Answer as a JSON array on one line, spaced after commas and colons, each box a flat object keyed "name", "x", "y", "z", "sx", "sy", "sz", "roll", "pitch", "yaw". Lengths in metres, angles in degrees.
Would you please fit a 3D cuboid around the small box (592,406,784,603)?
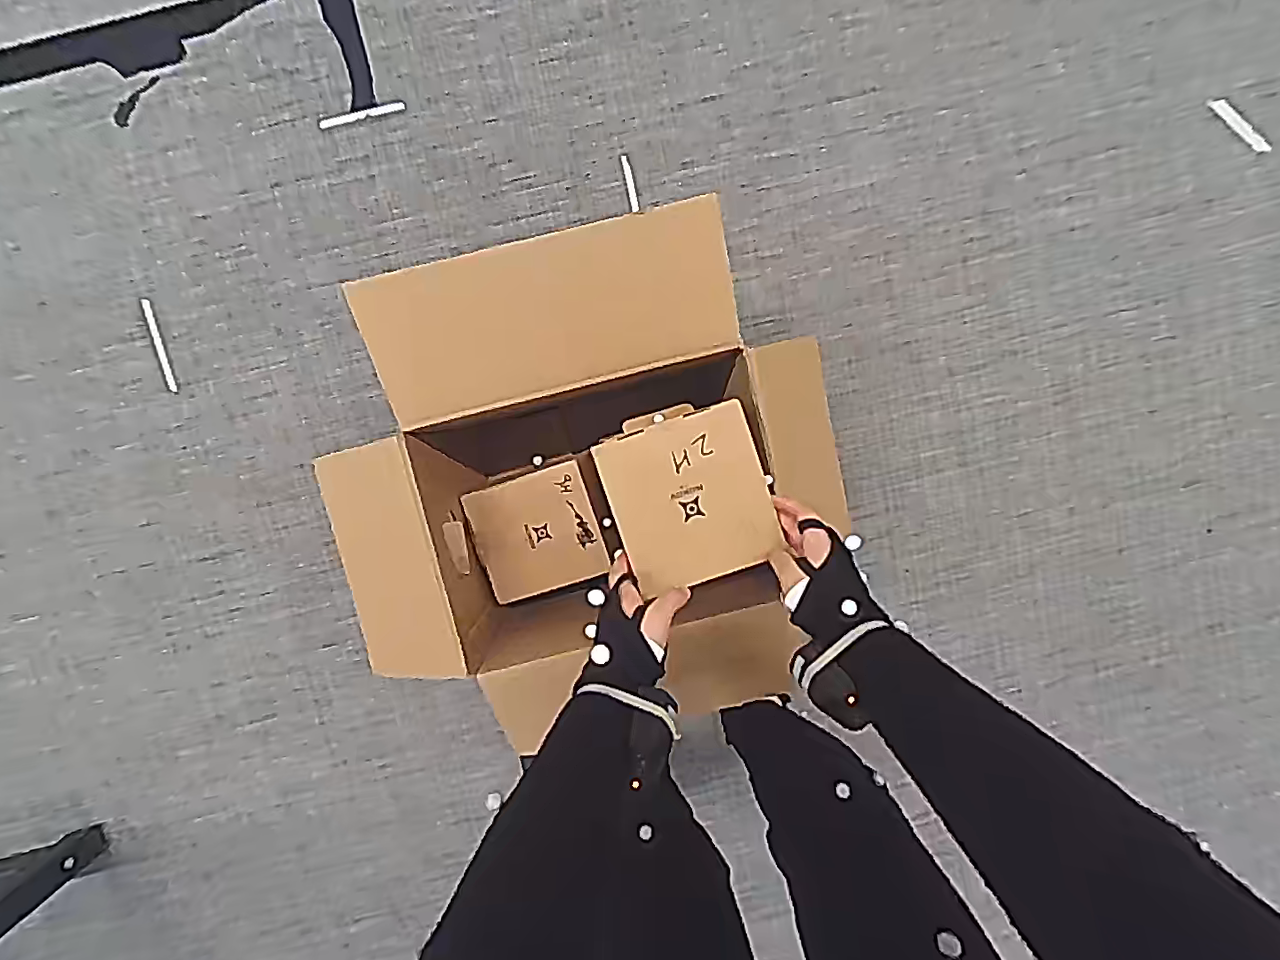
[{"name": "small box", "x": 0.052, "y": 0.022, "z": 0.649, "sx": 0.168, "sy": 0.176, "sz": 0.179, "roll": -18, "pitch": 93, "yaw": 1}]
